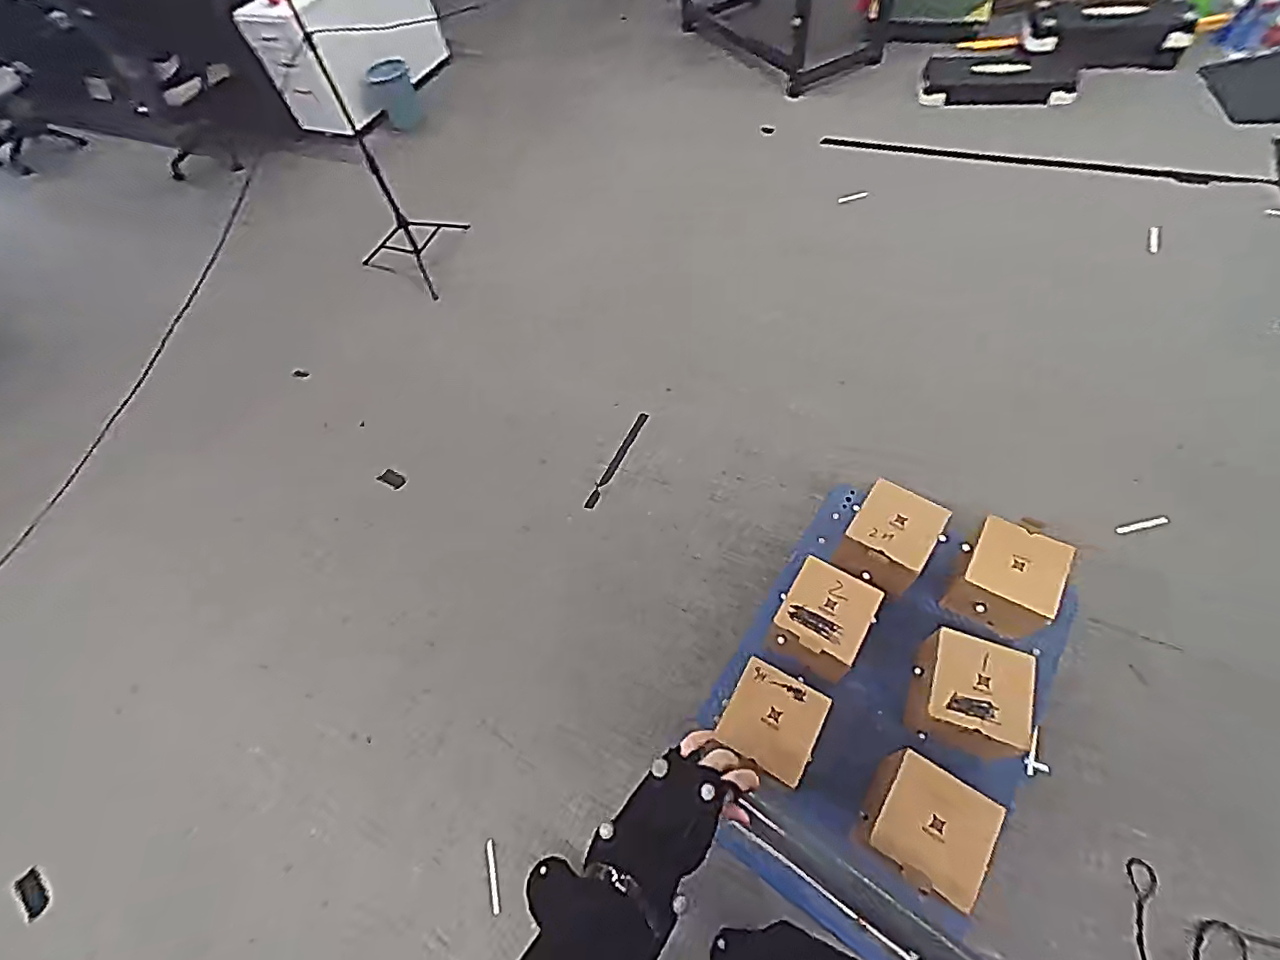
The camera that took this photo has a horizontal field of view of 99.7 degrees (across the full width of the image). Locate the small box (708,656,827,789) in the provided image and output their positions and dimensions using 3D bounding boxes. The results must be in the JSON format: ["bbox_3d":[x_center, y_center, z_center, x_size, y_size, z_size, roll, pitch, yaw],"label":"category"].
[{"bbox_3d":[0.248,0.486,1.075,0.168,0.176,0.179,26,65,20],"label":"small box"}]

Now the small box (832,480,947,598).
[{"bbox_3d":[0.564,0.139,1.246,0.168,0.176,0.179,30,68,24],"label":"small box"}]

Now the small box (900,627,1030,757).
[{"bbox_3d":[0.630,0.422,1.065,0.168,0.176,0.179,17,61,17],"label":"small box"}]

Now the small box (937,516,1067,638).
[{"bbox_3d":[0.773,0.216,1.173,0.168,0.176,0.179,26,65,22],"label":"small box"}]

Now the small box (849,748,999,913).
[{"bbox_3d":[0.493,0.616,0.965,0.168,0.176,0.179,29,66,22],"label":"small box"}]
